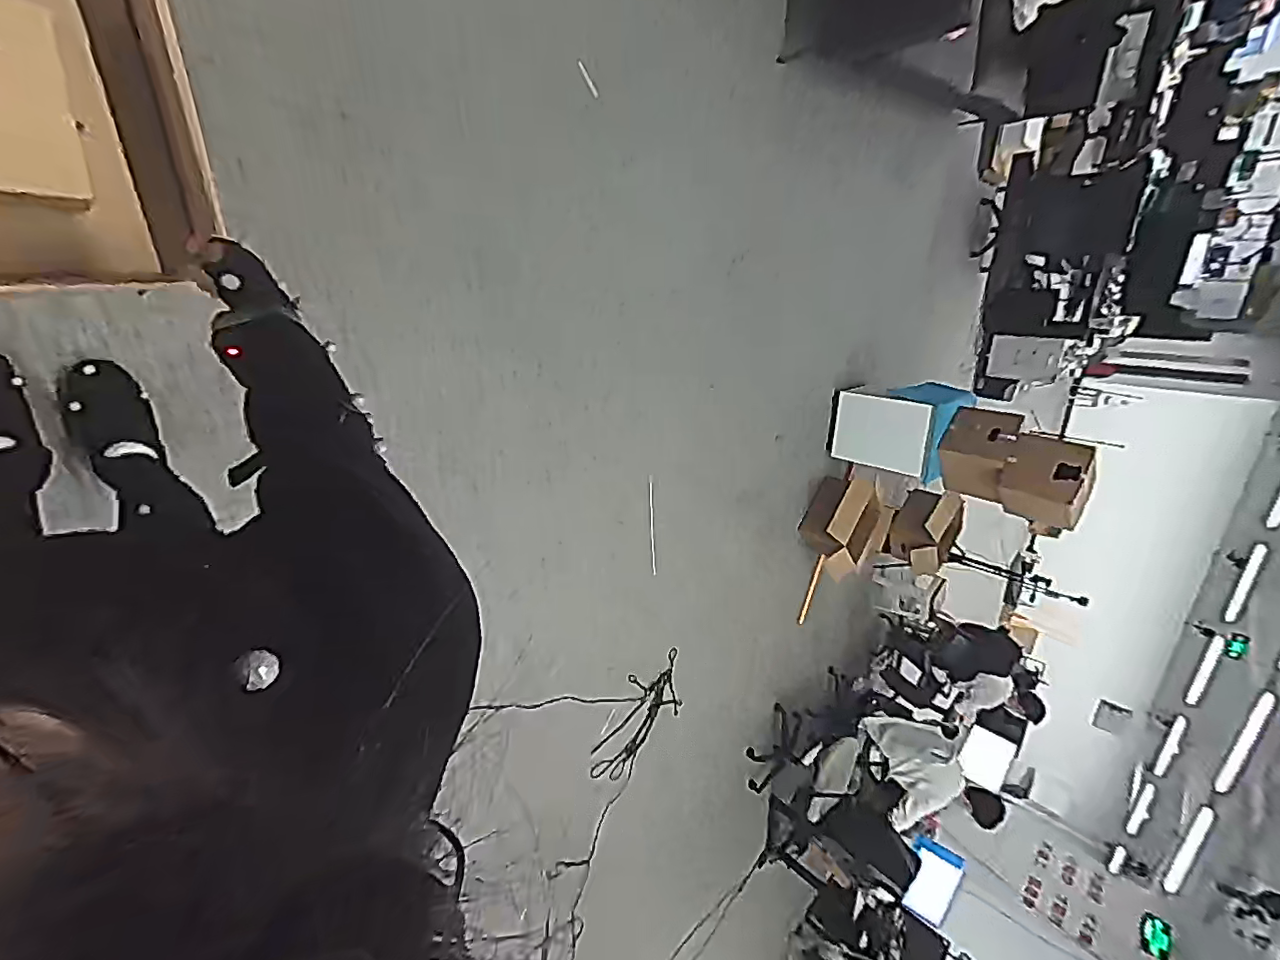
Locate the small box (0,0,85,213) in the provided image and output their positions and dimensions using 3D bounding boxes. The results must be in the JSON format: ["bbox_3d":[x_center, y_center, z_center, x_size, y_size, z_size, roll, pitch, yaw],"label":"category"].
[{"bbox_3d":[-0.689,-0.377,0.541,0.168,0.176,0.179,-14,114,-44],"label":"small box"}]
